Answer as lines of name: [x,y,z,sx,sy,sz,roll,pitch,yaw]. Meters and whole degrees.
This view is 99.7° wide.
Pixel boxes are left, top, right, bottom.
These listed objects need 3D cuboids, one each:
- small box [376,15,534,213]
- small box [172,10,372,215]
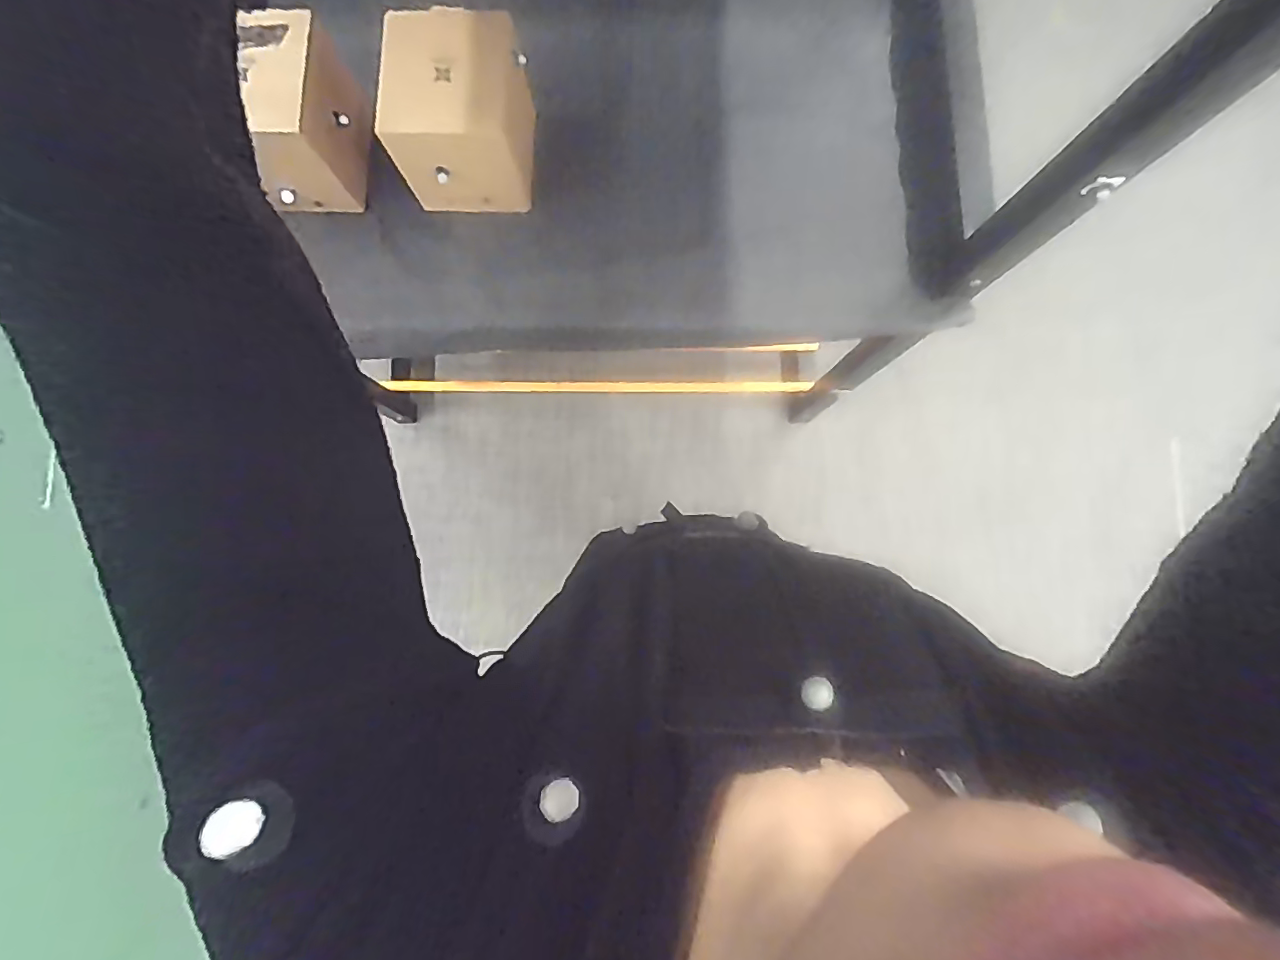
small box: [-0.250,-0.508,0.771,0.168,0.176,0.179,1,83,0]
small box: [-0.503,-0.509,0.768,0.168,0.176,0.179,1,83,0]
